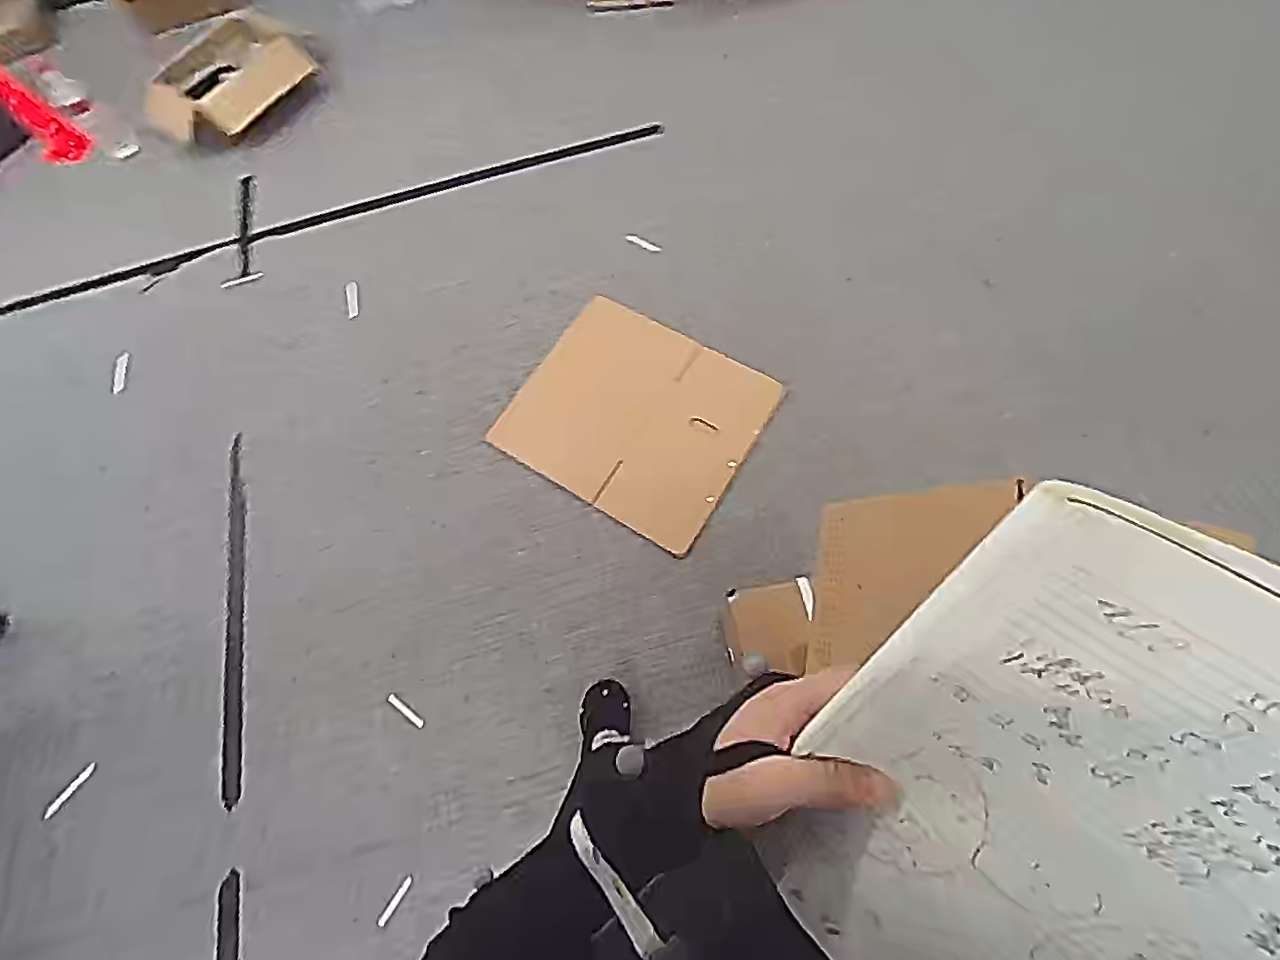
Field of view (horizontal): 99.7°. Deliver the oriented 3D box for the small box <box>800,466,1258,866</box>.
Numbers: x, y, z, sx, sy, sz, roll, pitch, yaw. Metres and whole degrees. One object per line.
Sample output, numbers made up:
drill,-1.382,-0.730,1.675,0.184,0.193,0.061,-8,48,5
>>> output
small box,0.220,0.105,0.343,0.168,0.176,0.179,12,78,-13
